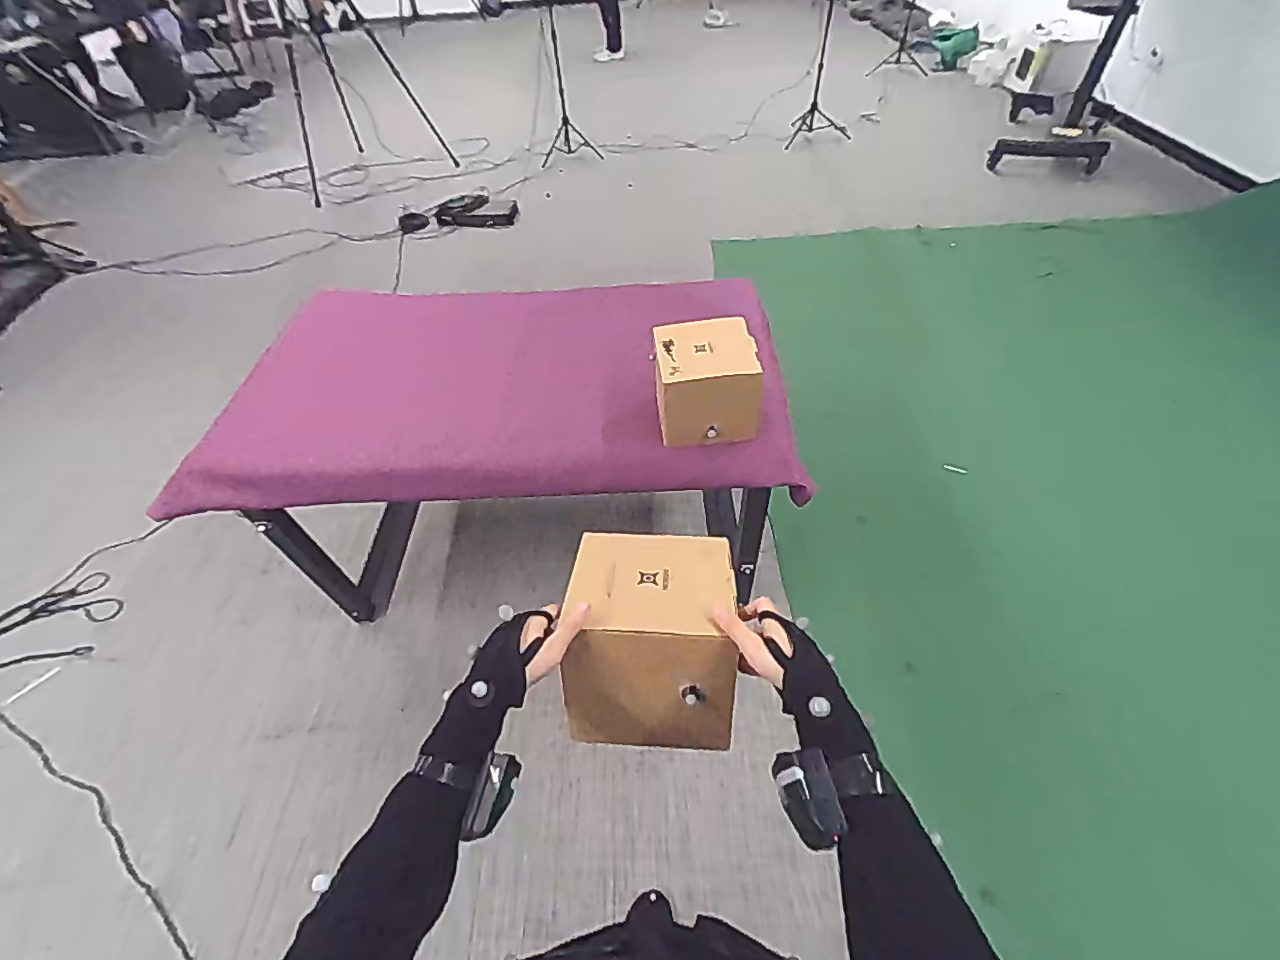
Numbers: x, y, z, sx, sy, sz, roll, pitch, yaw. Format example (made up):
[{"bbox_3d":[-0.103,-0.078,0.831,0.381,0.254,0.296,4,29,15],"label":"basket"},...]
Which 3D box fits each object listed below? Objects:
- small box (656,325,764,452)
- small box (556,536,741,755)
[{"bbox_3d":[0.124,-0.172,1.030,0.179,0.176,0.168,-6,49,0],"label":"small box"},{"bbox_3d":[0.014,0.182,0.610,0.179,0.176,0.168,2,26,5],"label":"small box"}]
